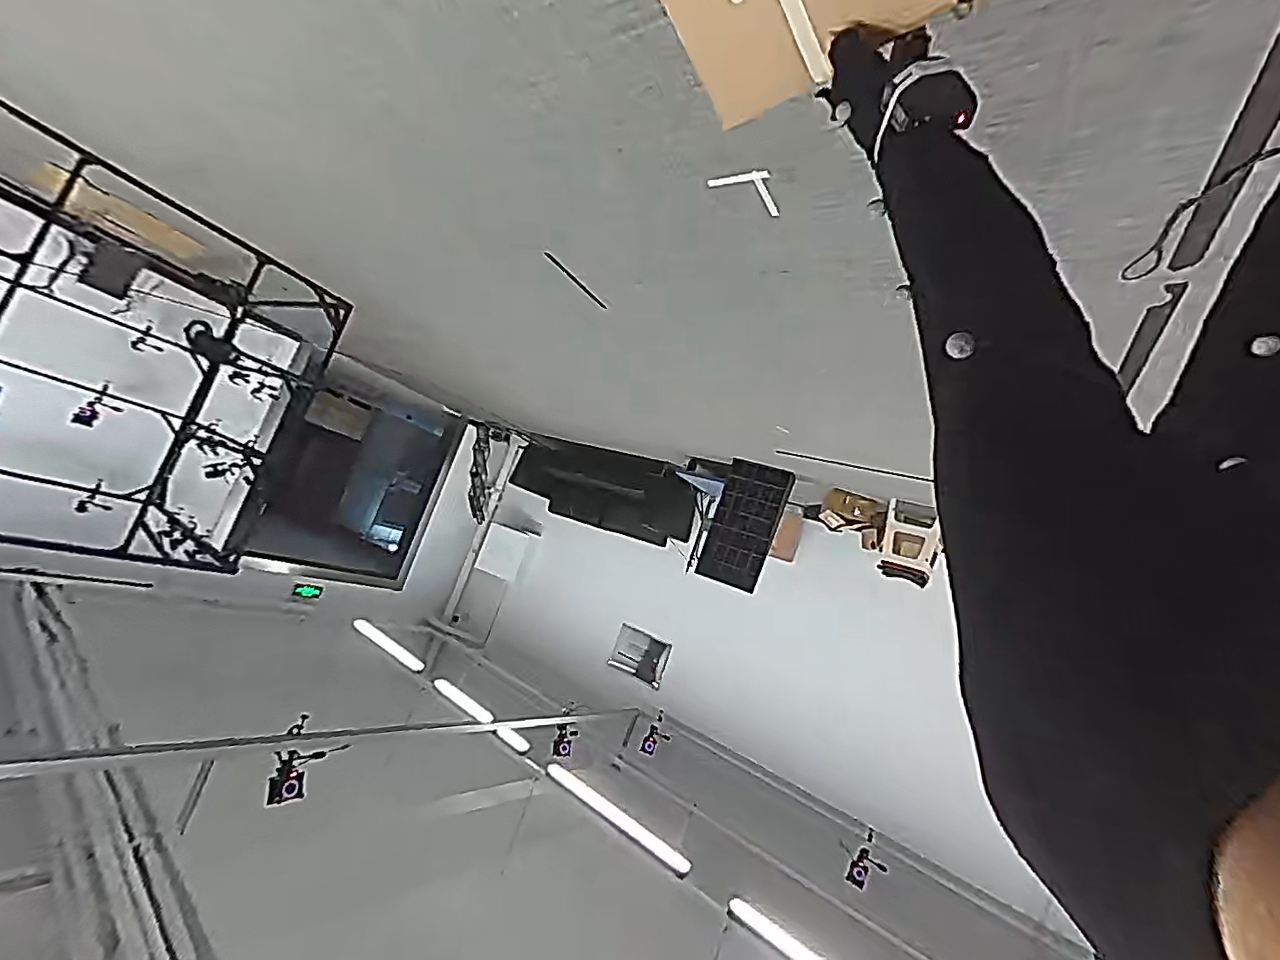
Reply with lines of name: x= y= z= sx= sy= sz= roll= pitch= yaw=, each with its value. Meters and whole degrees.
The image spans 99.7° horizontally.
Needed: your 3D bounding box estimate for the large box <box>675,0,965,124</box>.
large box: x=0.183 y=-0.685 z=0.528 sx=0.408 sy=0.320 sz=0.320 roll=44 pitch=167 yaw=-30
